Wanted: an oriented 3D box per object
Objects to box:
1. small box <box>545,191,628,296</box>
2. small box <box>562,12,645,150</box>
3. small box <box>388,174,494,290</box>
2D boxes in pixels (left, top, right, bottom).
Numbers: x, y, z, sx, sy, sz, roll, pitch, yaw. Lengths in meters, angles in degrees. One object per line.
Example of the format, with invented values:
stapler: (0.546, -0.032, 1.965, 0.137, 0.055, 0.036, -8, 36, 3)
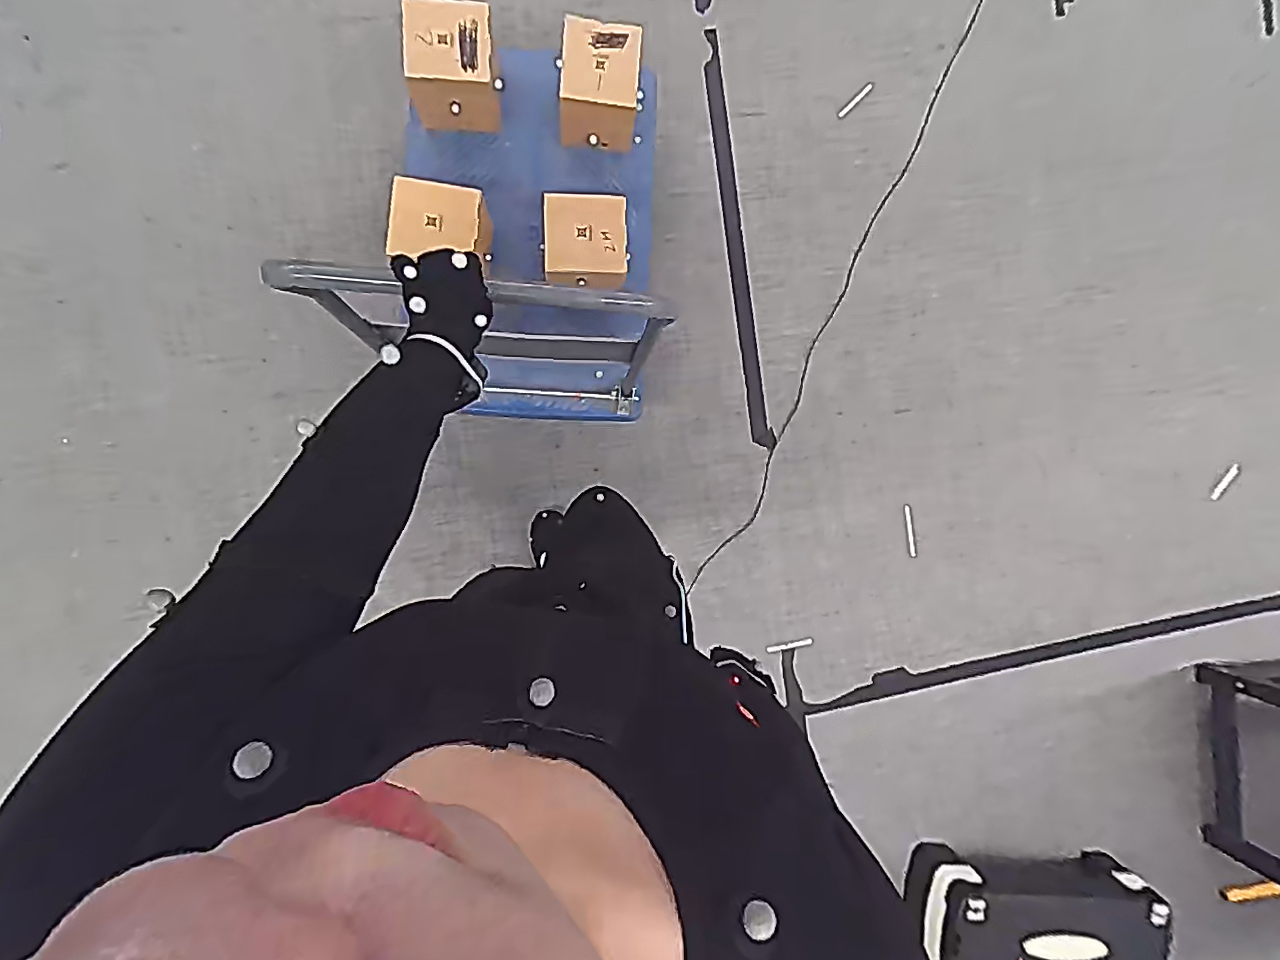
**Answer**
small box: (-0.119, -0.524, 1.218, 0.179, 0.176, 0.168, -1, 91, -7)
small box: (-0.087, -0.889, 1.219, 0.168, 0.176, 0.179, 4, 91, -6)
small box: (-0.427, -0.531, 1.183, 0.179, 0.176, 0.168, 6, 89, -8)
